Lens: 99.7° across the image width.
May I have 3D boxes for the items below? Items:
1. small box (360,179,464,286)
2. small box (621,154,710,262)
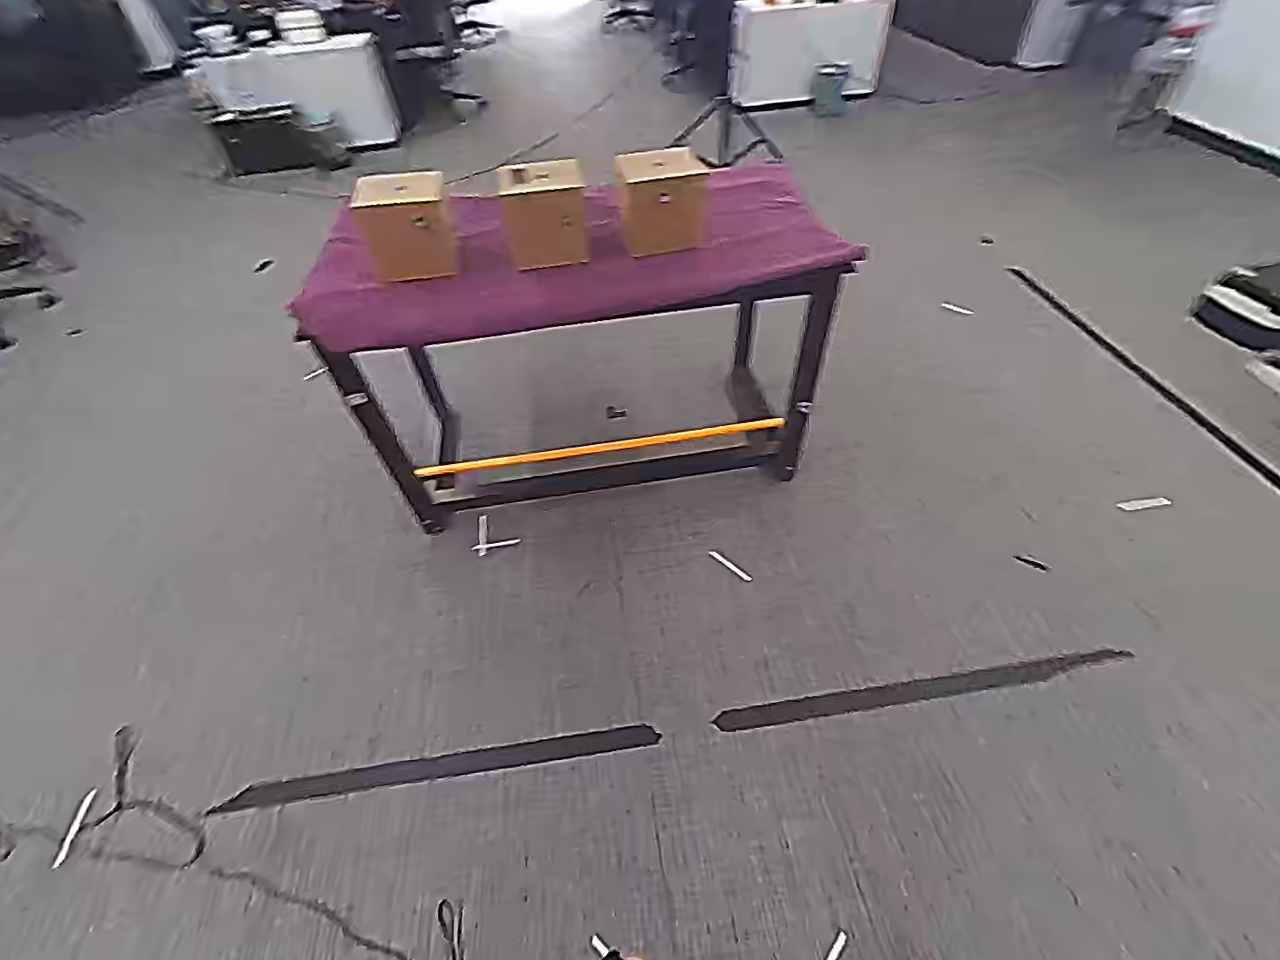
[{"bbox_3d":[-0.507,-0.564,1.235,0.179,0.176,0.168,-9,48,-7],"label":"small box"},{"bbox_3d":[0.056,-0.637,1.271,0.179,0.176,0.168,-10,49,-5],"label":"small box"}]
